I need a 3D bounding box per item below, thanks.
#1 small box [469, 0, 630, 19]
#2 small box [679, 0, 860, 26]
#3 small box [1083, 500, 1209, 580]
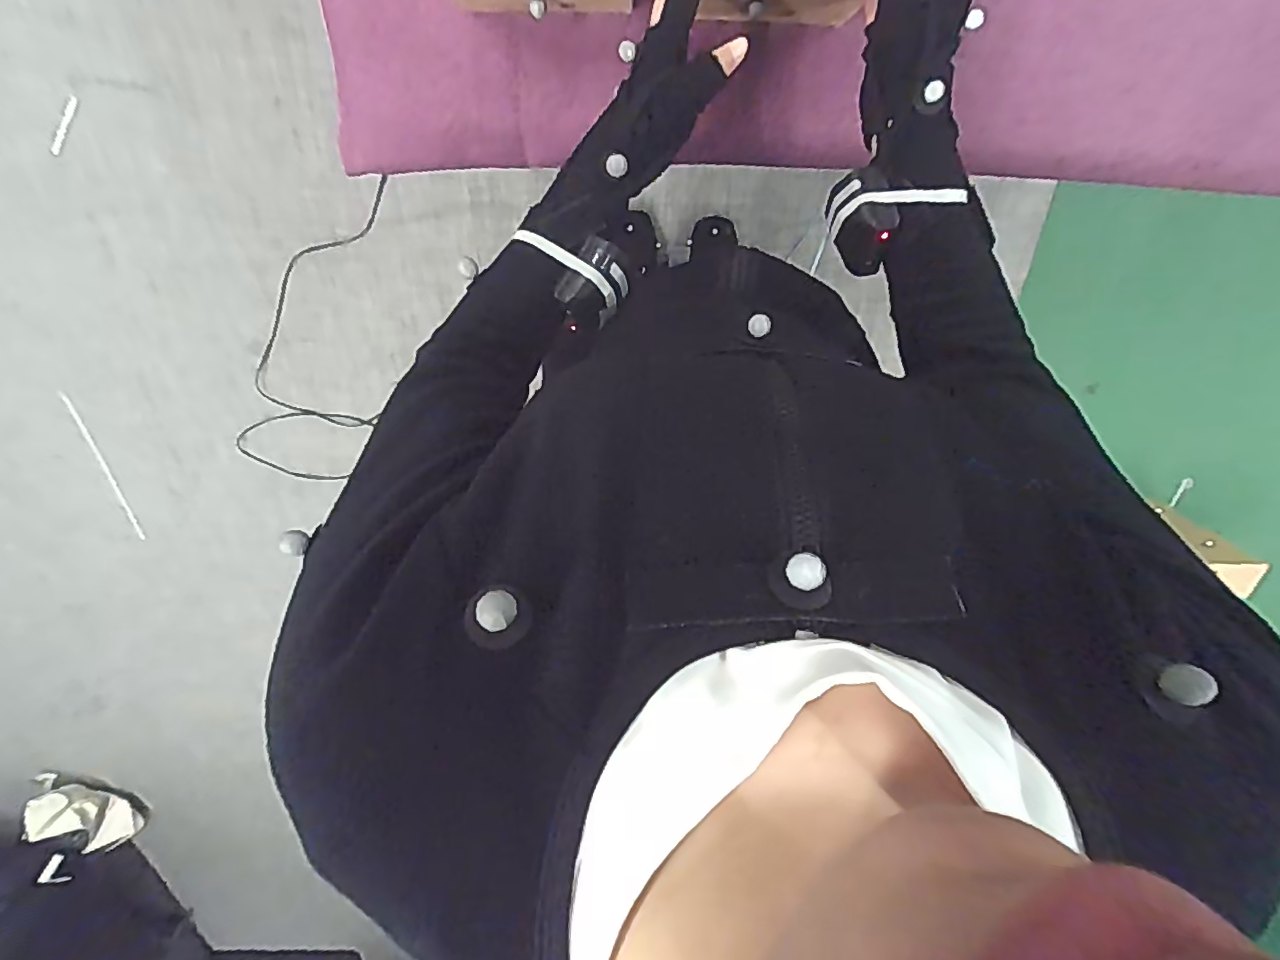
[{"bbox_3d":[-0.089,-0.495,0.418,0.168,0.176,0.179,0,118,0],"label":"small box"},{"bbox_3d":[0.117,-0.491,0.420,0.168,0.176,0.179,1,118,0],"label":"small box"},{"bbox_3d":[1.447,0.169,1.562,0.179,0.176,0.168,1,118,-1],"label":"small box"}]
